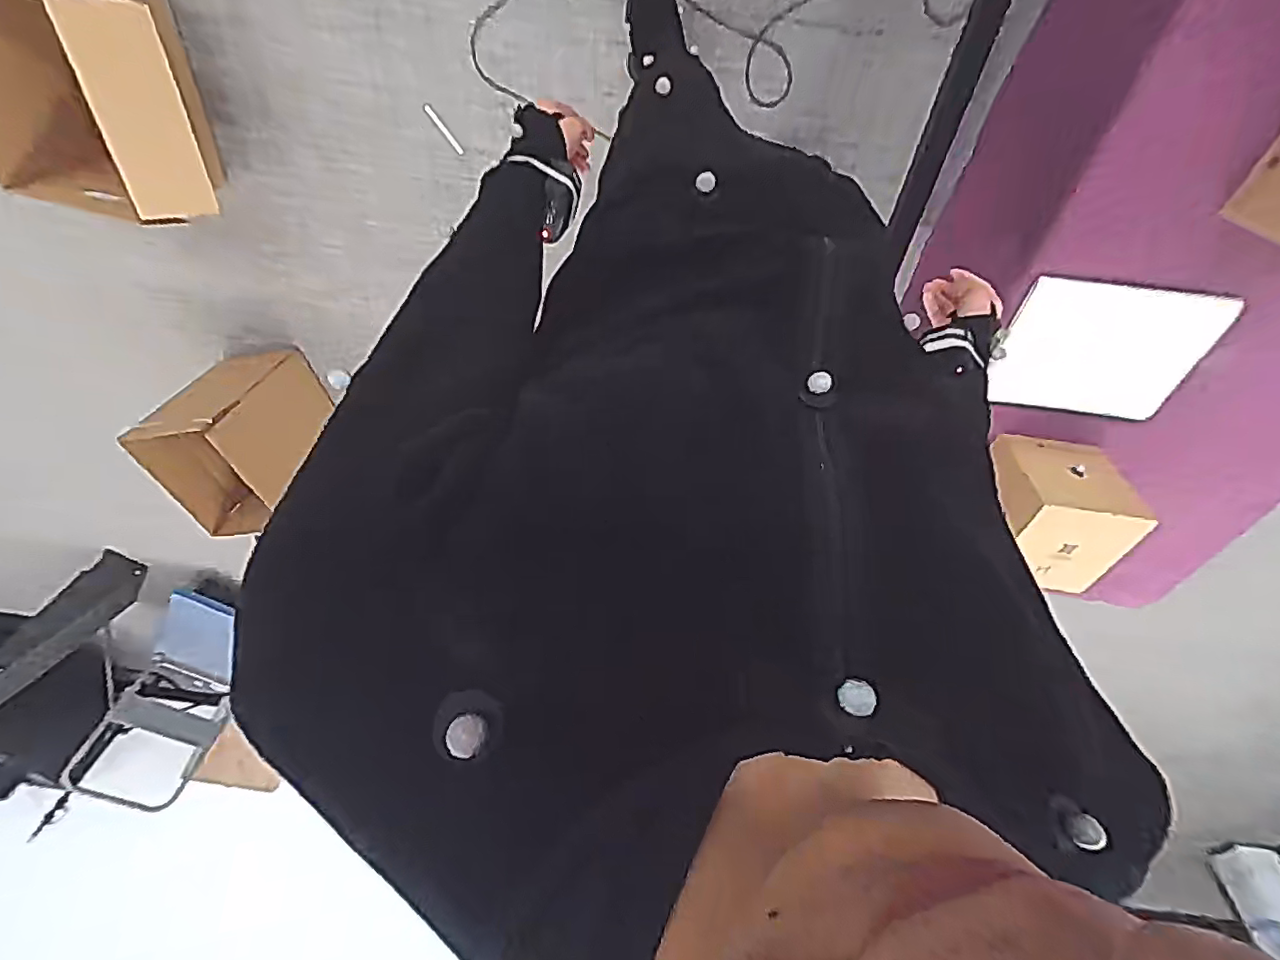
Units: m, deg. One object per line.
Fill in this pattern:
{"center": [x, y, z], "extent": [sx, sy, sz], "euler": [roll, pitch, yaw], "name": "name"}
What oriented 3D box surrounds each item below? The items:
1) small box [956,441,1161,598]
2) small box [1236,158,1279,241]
{"center": [0.645, 0.060, 0.867], "extent": [0.168, 0.176, 0.179], "euler": [9, 133, 0], "name": "small box"}
{"center": [0.771, -0.299, 0.522], "extent": [0.179, 0.176, 0.168], "euler": [8, 133, 0], "name": "small box"}
